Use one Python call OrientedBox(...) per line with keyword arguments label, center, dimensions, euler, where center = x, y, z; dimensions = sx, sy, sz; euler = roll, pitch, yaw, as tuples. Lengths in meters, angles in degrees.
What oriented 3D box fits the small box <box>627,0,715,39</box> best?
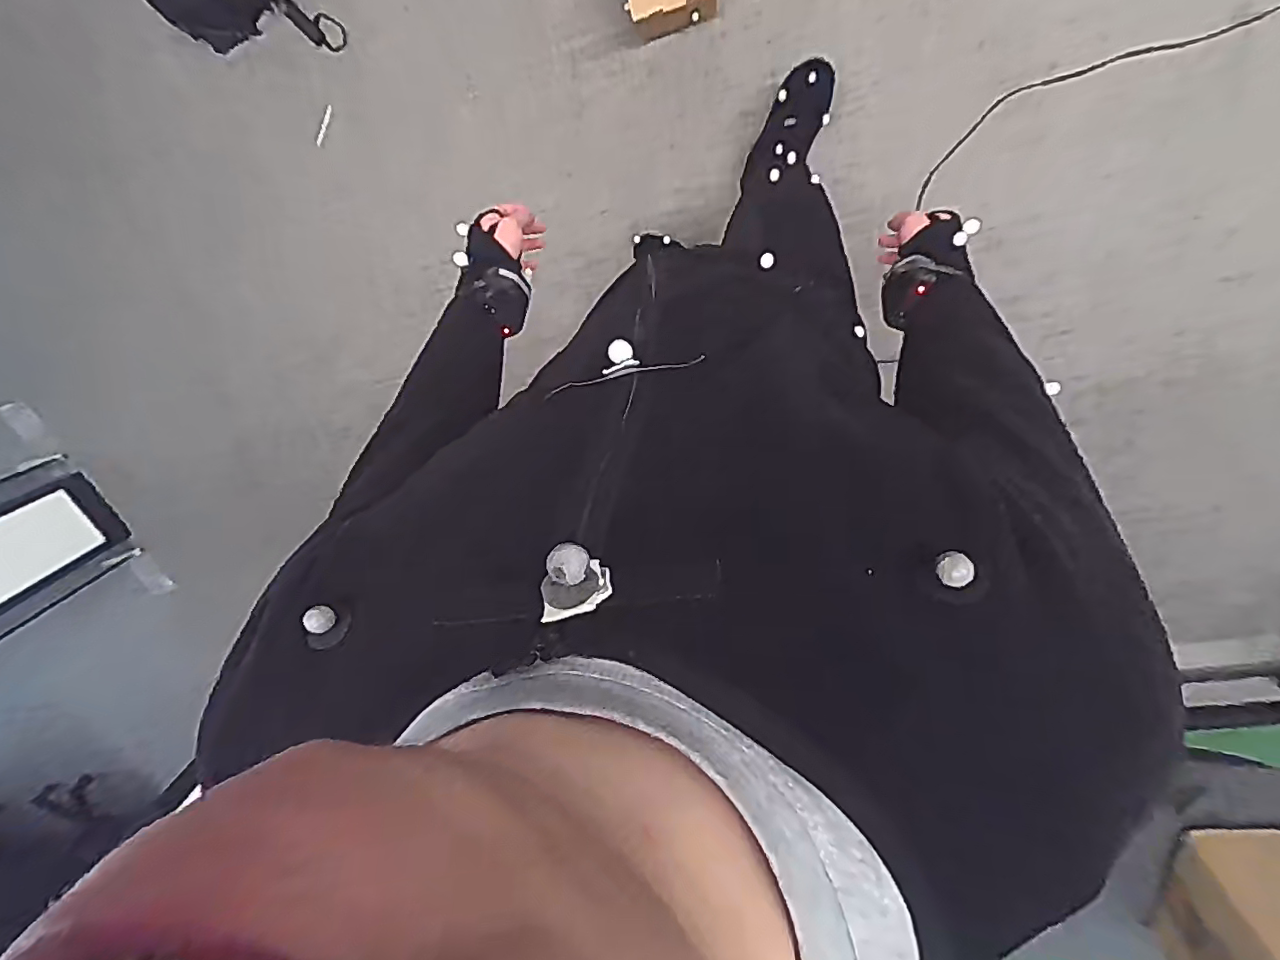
OrientedBox(label="small box", center=(0.052, -1.001, 1.058), dimensions=(0.168, 0.176, 0.179), euler=(-11, 115, 13))
